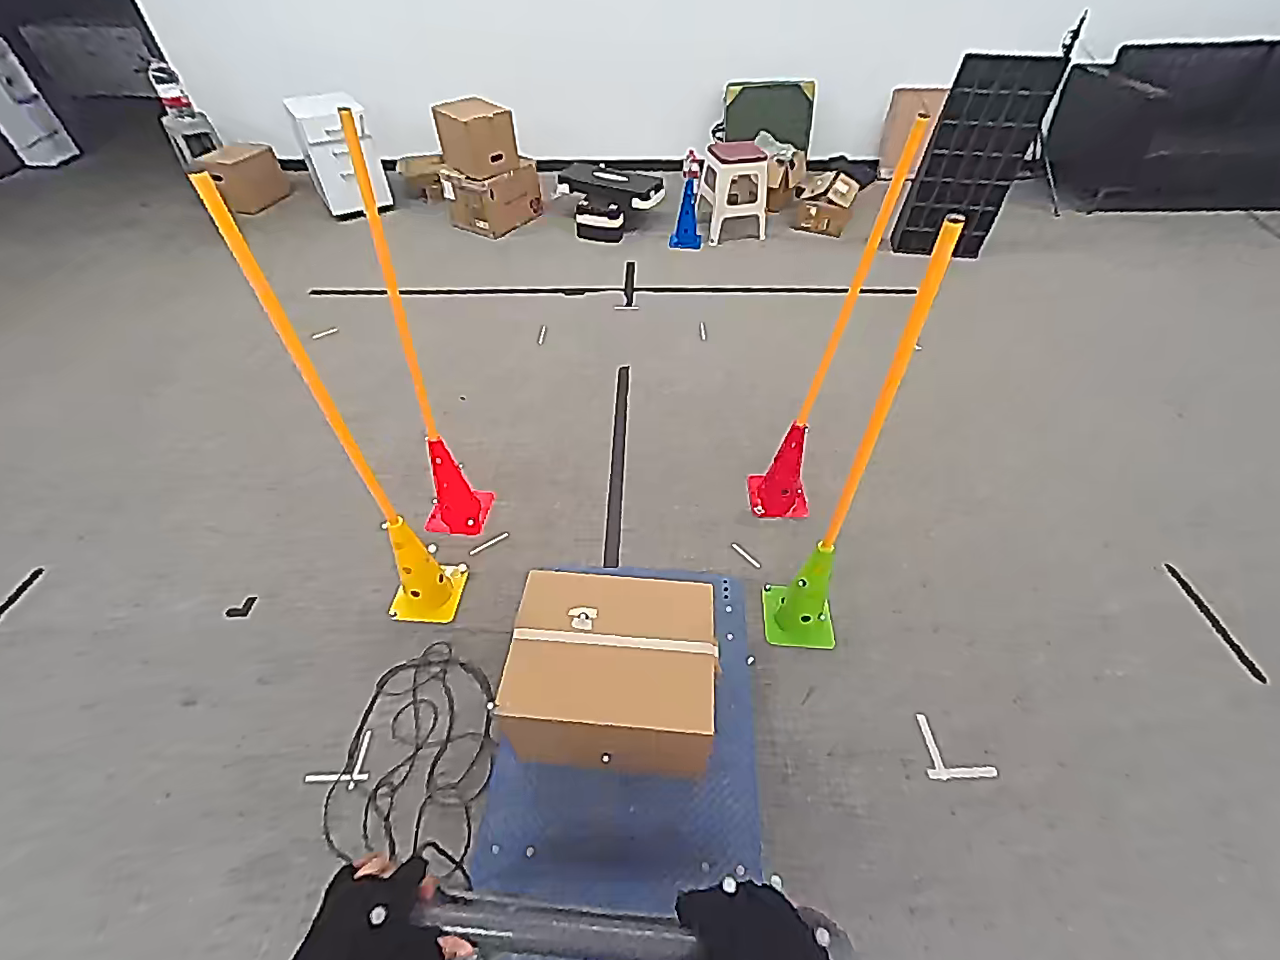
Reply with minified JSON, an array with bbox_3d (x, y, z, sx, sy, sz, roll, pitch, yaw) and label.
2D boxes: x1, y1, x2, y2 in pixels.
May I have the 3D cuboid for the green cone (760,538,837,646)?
[{"bbox_3d":[0.476,0.288,1.517,0.202,0.368,0.200,5,47,2],"label":"green cone"}]

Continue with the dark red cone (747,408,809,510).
[{"bbox_3d":[0.503,-0.079,1.834,0.201,0.394,0.202,2,48,-1],"label":"dark red cone"}]

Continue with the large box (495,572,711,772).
[{"bbox_3d":[-0.056,0.425,1.189,0.408,0.320,0.320,4,47,4],"label":"large box"}]

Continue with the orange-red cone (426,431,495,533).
[{"bbox_3d":[-0.629,-0.018,1.792,0.198,0.360,0.199,7,46,5],"label":"orange-red cone"}]
